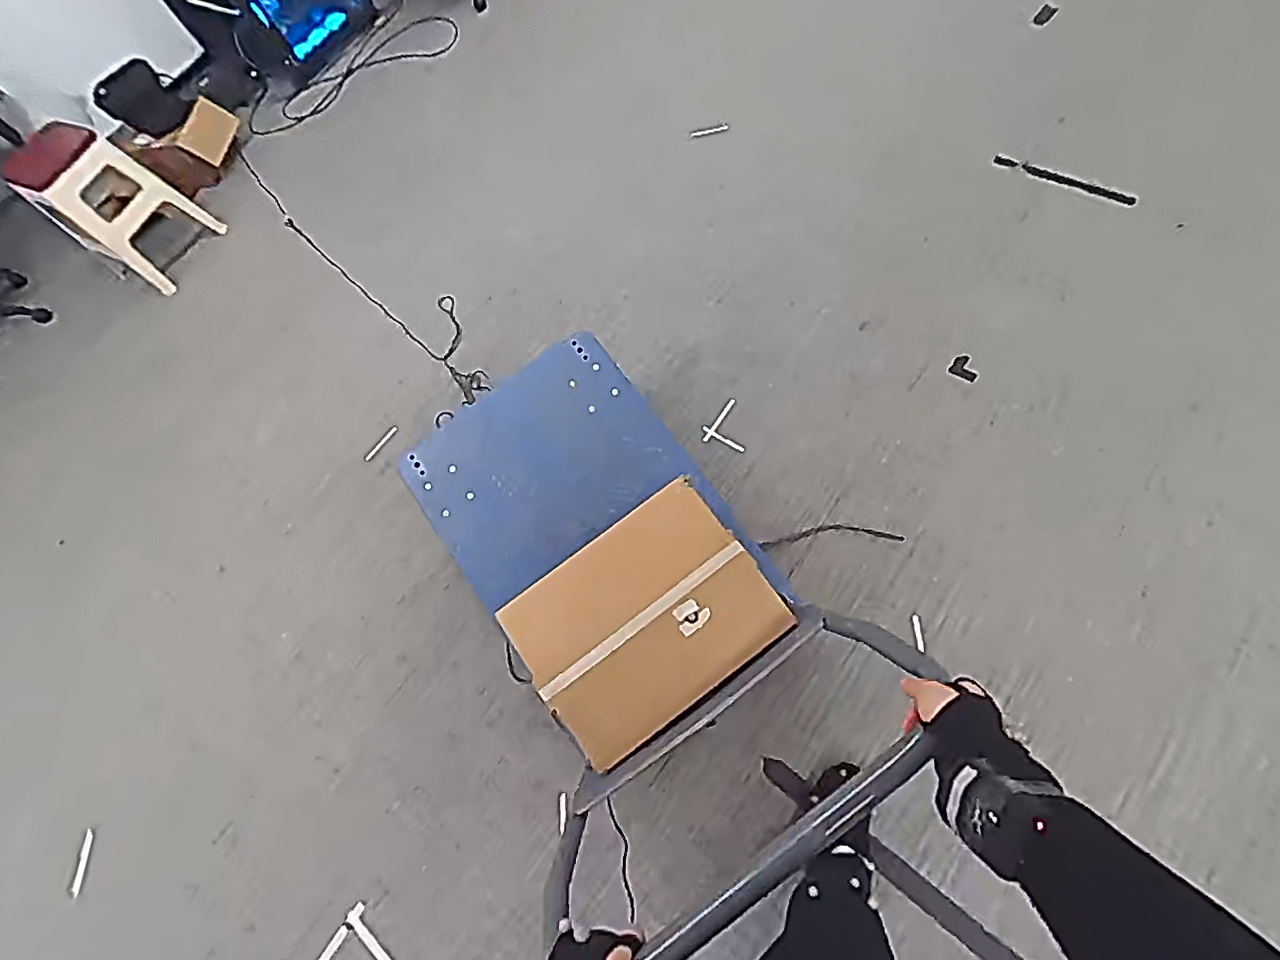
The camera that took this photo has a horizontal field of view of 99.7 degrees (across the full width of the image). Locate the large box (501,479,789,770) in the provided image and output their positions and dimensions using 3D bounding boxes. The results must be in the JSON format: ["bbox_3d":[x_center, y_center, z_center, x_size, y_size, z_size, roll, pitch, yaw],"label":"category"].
[{"bbox_3d":[0.013,0.266,1.057,0.408,0.320,0.320,-37,79,-5],"label":"large box"}]
